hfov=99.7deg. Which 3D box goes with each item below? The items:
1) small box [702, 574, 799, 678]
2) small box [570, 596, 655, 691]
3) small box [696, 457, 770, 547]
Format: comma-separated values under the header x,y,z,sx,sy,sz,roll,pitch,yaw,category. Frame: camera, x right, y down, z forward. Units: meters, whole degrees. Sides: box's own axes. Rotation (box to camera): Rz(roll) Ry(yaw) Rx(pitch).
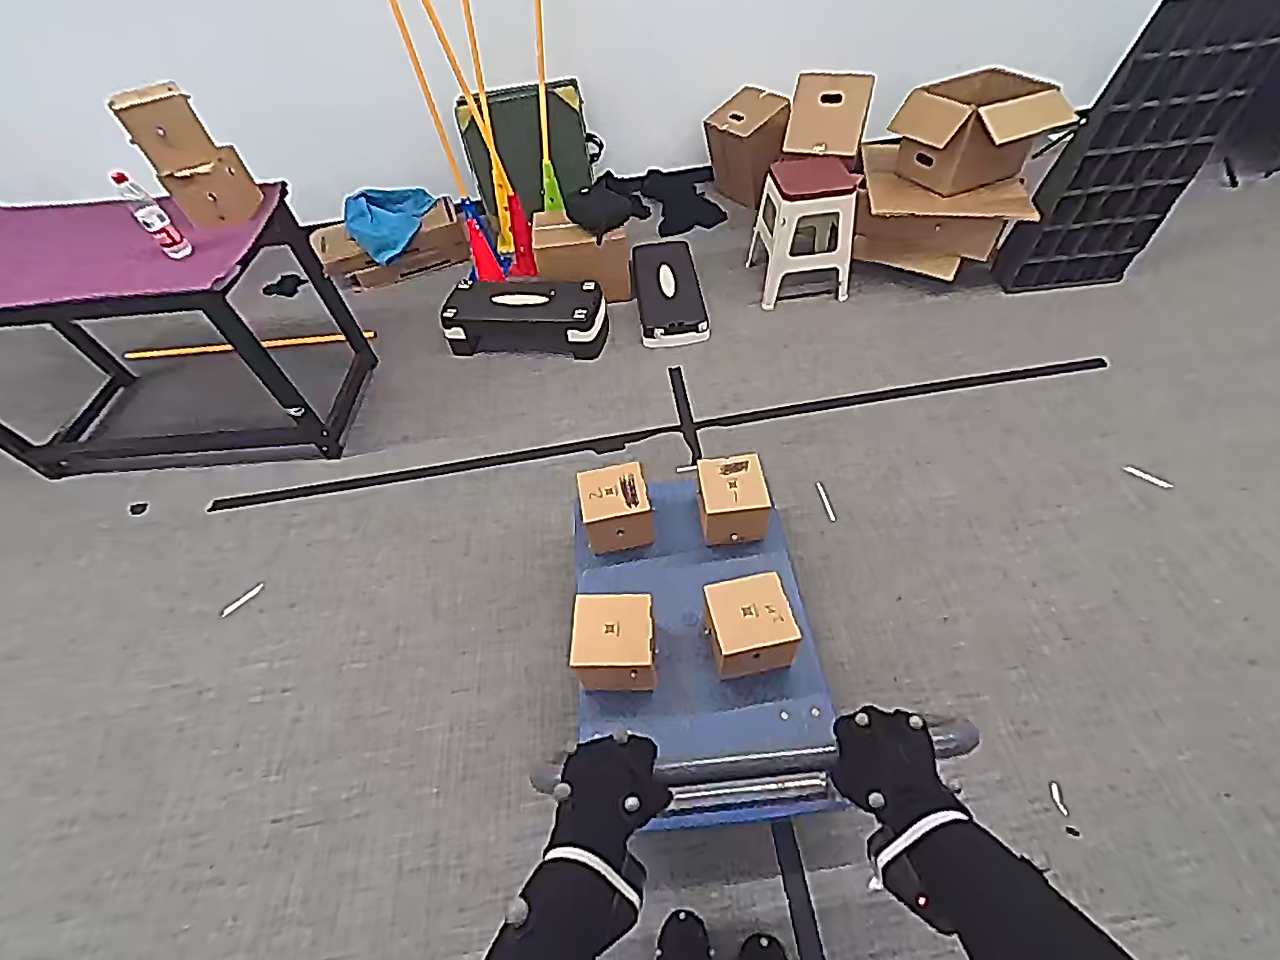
x,y,z,sx,sy,sz,roll,pitch,yaw,category
0.248,0.344,1.254,0.179,0.176,0.168,-11,53,-3,small box
-0.056,0.383,1.255,0.179,0.176,0.168,-2,52,3,small box
0.245,0.062,1.471,0.168,0.176,0.179,-7,53,1,small box
